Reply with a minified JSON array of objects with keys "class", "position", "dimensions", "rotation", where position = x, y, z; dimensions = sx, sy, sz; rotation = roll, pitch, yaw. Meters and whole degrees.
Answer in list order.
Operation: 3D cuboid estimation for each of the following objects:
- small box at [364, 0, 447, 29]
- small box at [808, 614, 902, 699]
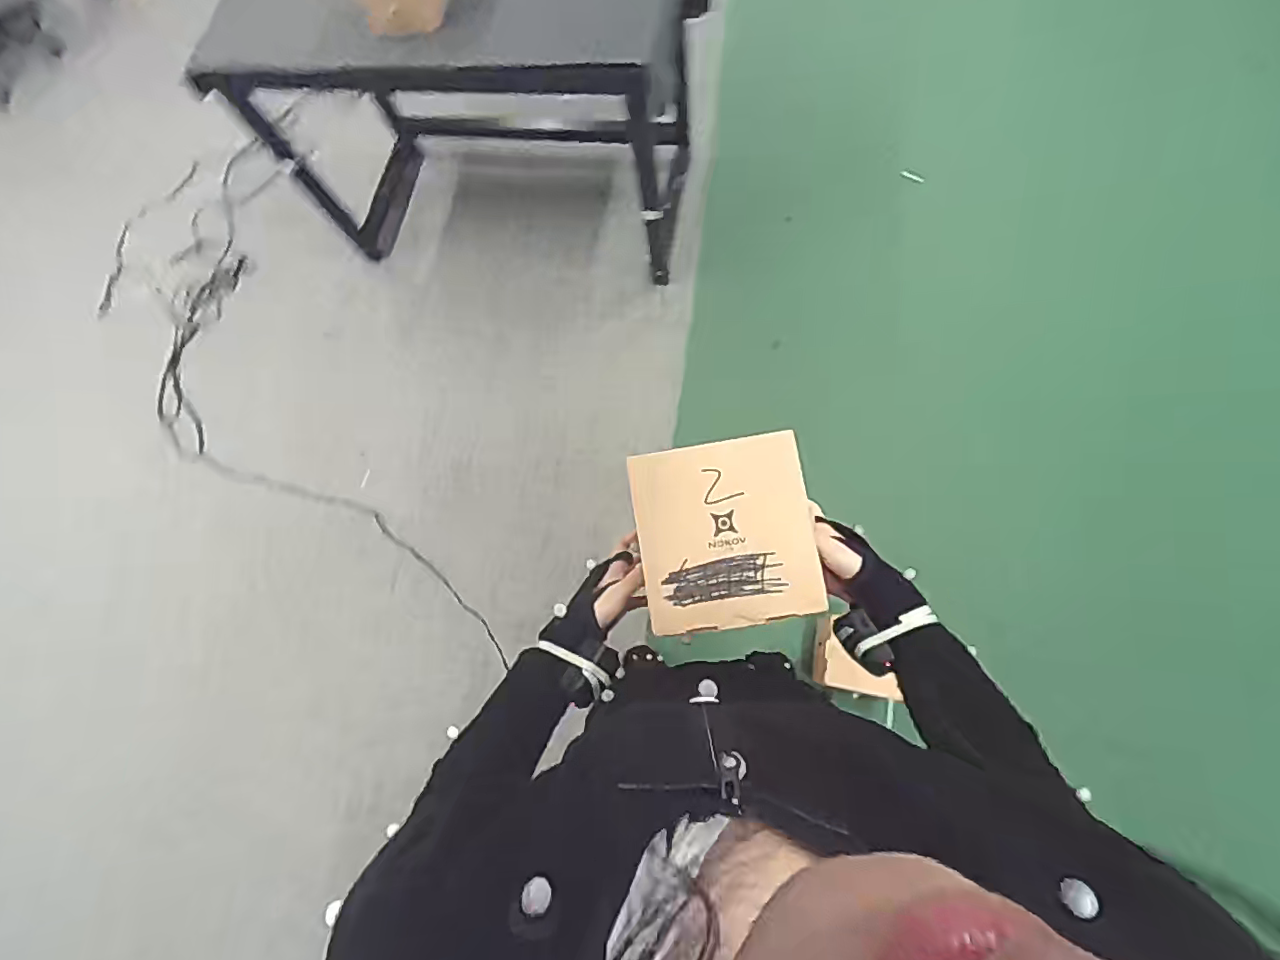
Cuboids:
[{"class":"small box","position":[-0.556,-1.187,1.243],"dimensions":[0.168,0.176,0.179],"rotation":[7,73,10]},{"class":"small box","position":[0.535,0.439,1.361],"dimensions":[0.179,0.176,0.168],"rotation":[9,74,10]}]
